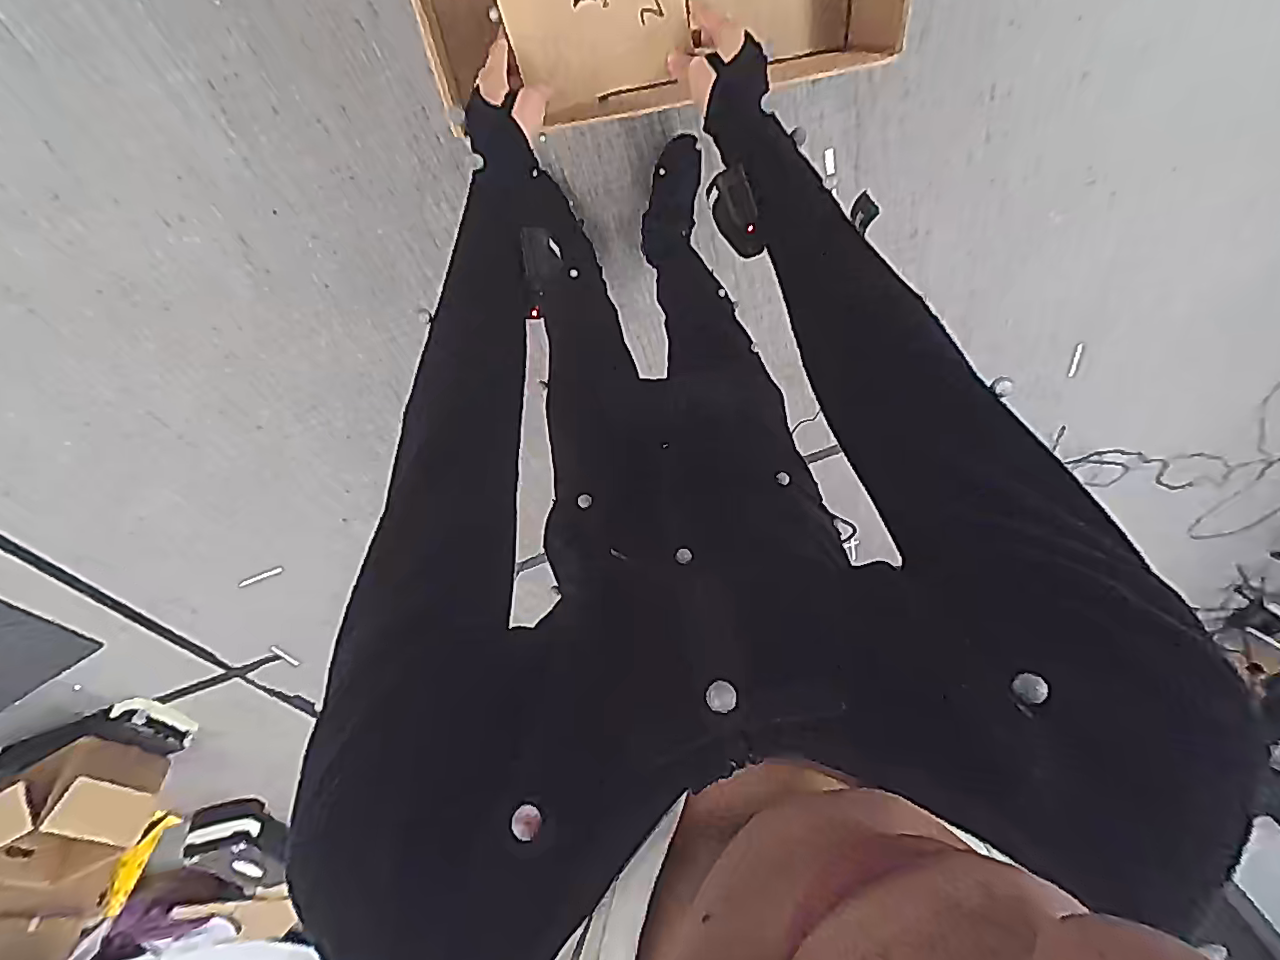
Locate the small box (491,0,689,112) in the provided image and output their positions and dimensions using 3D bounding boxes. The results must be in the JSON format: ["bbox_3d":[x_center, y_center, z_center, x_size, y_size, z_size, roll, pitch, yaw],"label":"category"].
[{"bbox_3d":[-0.061,-0.506,0.558,0.179,0.176,0.168,-16,131,2],"label":"small box"}]
